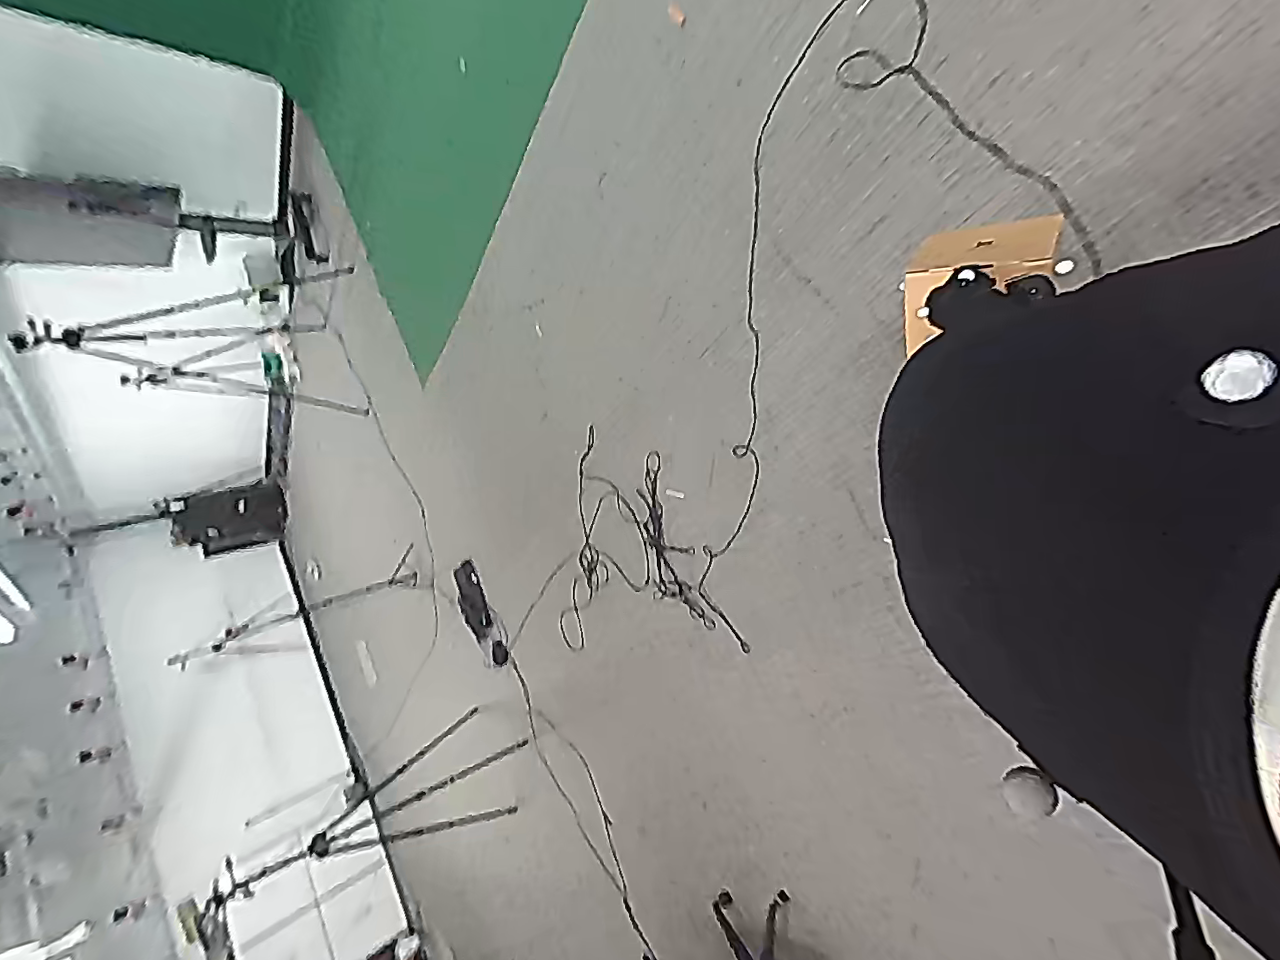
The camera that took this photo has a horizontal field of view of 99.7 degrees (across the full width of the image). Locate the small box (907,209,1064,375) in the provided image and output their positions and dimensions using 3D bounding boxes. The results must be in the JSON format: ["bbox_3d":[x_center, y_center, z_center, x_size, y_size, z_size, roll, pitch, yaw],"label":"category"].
[{"bbox_3d":[0.502,-0.270,0.793,0.168,0.179,0.176,8,133,38],"label":"small box"}]
